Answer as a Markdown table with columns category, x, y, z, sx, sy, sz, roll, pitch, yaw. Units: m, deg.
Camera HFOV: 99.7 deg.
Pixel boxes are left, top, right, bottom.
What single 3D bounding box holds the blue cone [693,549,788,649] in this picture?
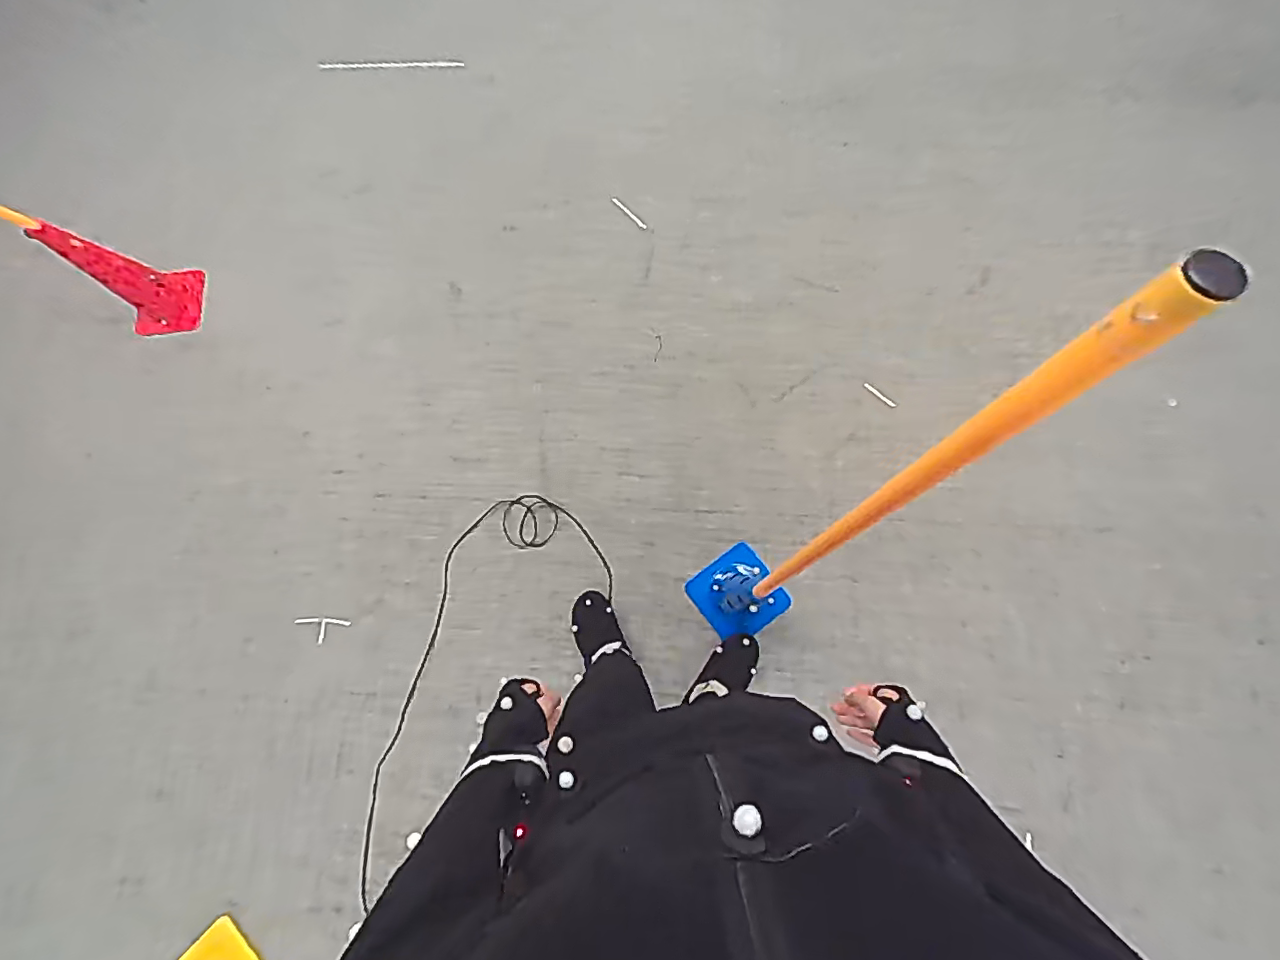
| category | x | y | z | sx | sy | sz | roll | pitch | yaw |
| --- | --- | --- | --- | --- | --- | --- | --- | --- | --- |
| blue cone | 0.237 | 0.248 | 1.158 | 0.193 | 0.380 | 0.192 | -37 | 78 | -6 |
